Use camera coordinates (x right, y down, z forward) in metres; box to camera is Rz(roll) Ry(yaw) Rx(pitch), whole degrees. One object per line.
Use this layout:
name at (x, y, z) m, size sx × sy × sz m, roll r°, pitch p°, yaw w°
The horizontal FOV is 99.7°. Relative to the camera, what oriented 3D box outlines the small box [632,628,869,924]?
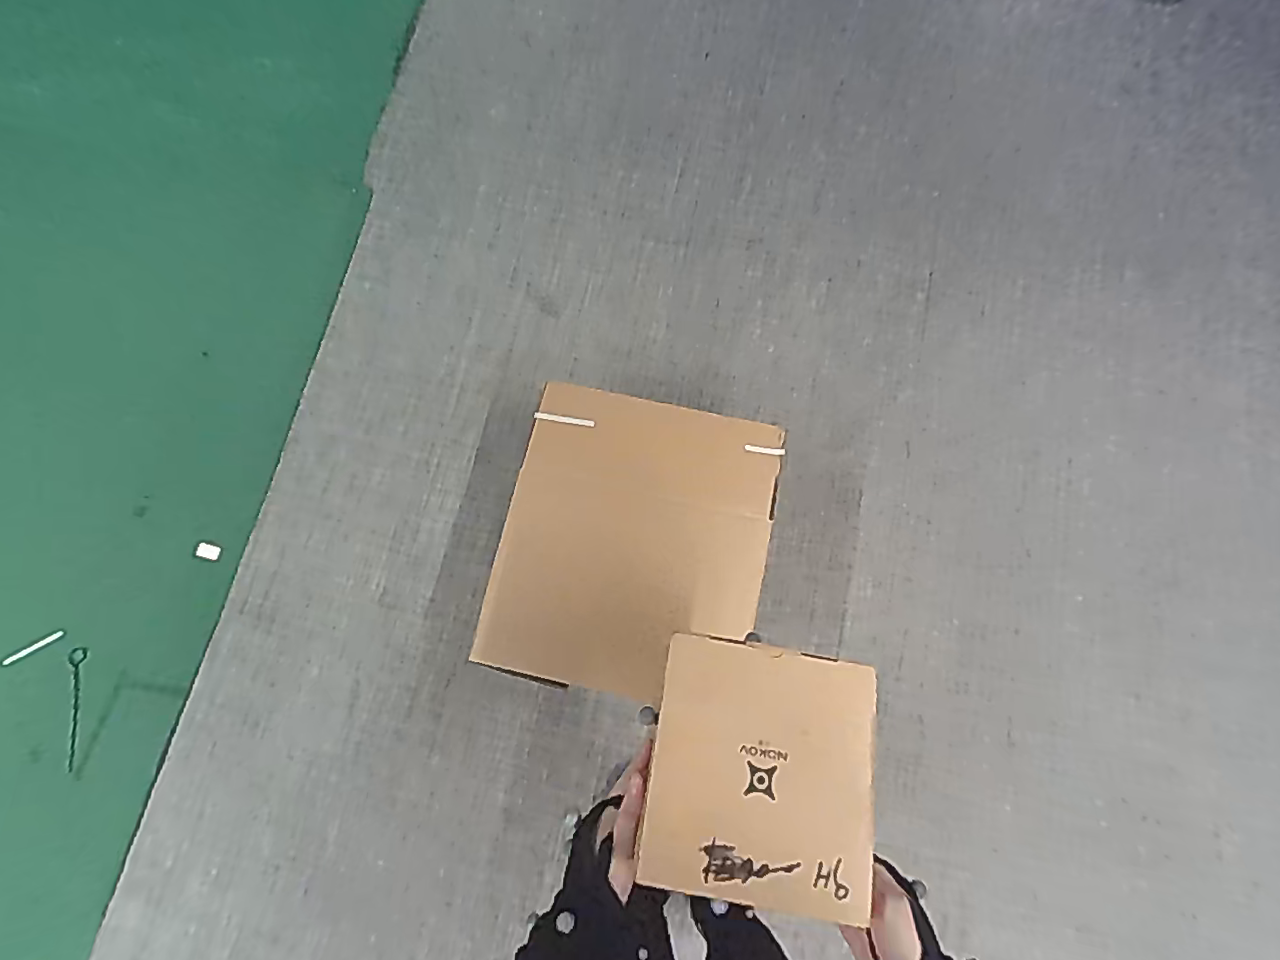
small box at (0.087, 0.243, 0.484) m, size 0.168 × 0.176 × 0.179 m, roll 10°, pitch 70°, yaw 3°
